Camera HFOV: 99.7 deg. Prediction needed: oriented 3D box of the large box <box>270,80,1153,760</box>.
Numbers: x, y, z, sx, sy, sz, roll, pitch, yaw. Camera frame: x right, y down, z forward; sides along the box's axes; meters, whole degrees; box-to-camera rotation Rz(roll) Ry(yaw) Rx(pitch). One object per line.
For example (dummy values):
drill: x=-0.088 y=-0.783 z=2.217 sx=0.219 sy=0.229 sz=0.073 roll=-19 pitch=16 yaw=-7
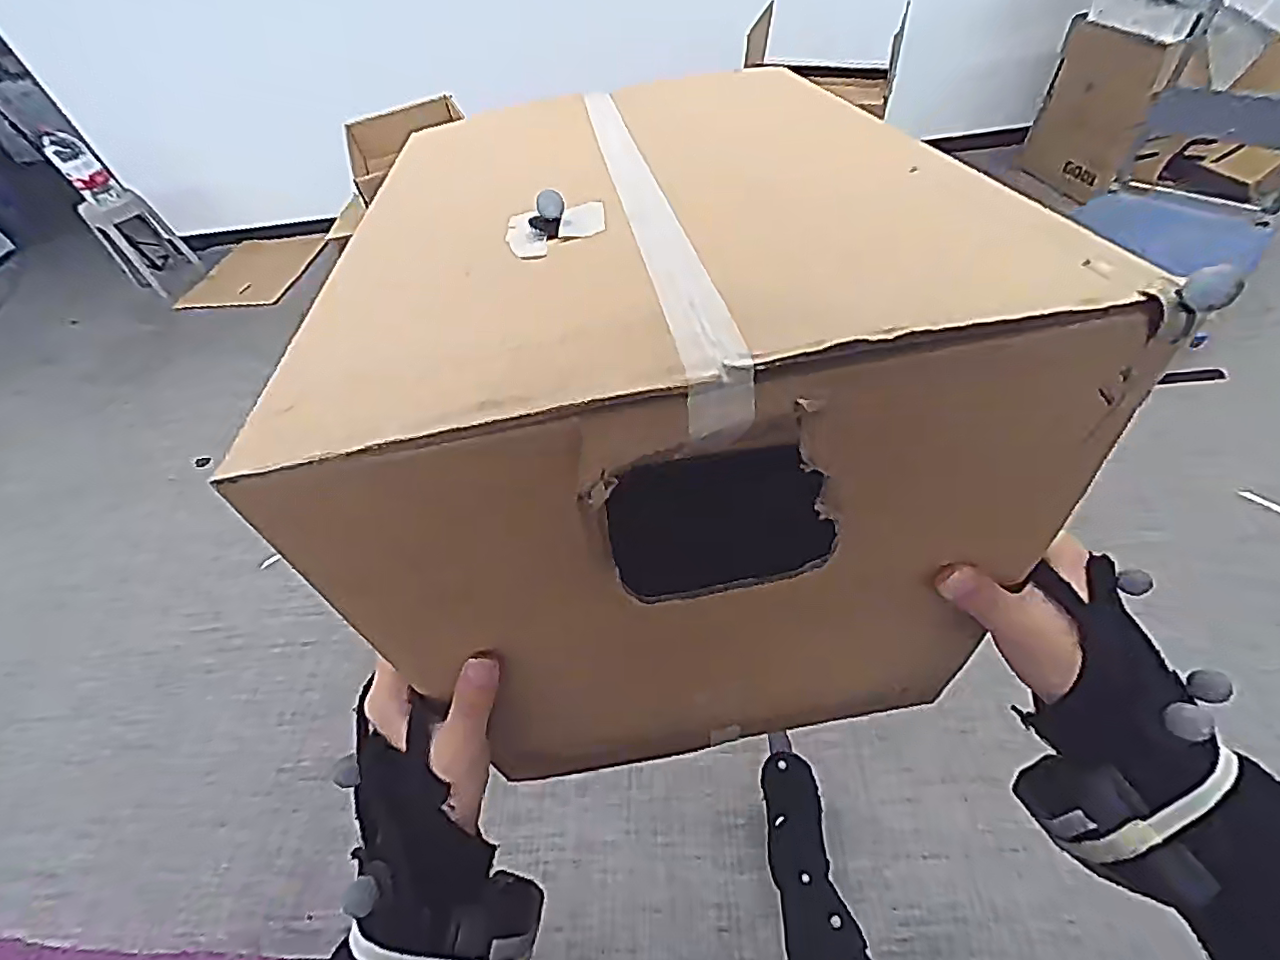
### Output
large box: x=0.010 y=-0.065 z=0.421 sx=0.320 sy=0.320 sz=0.408 roll=-12 pitch=46 yaw=-1
